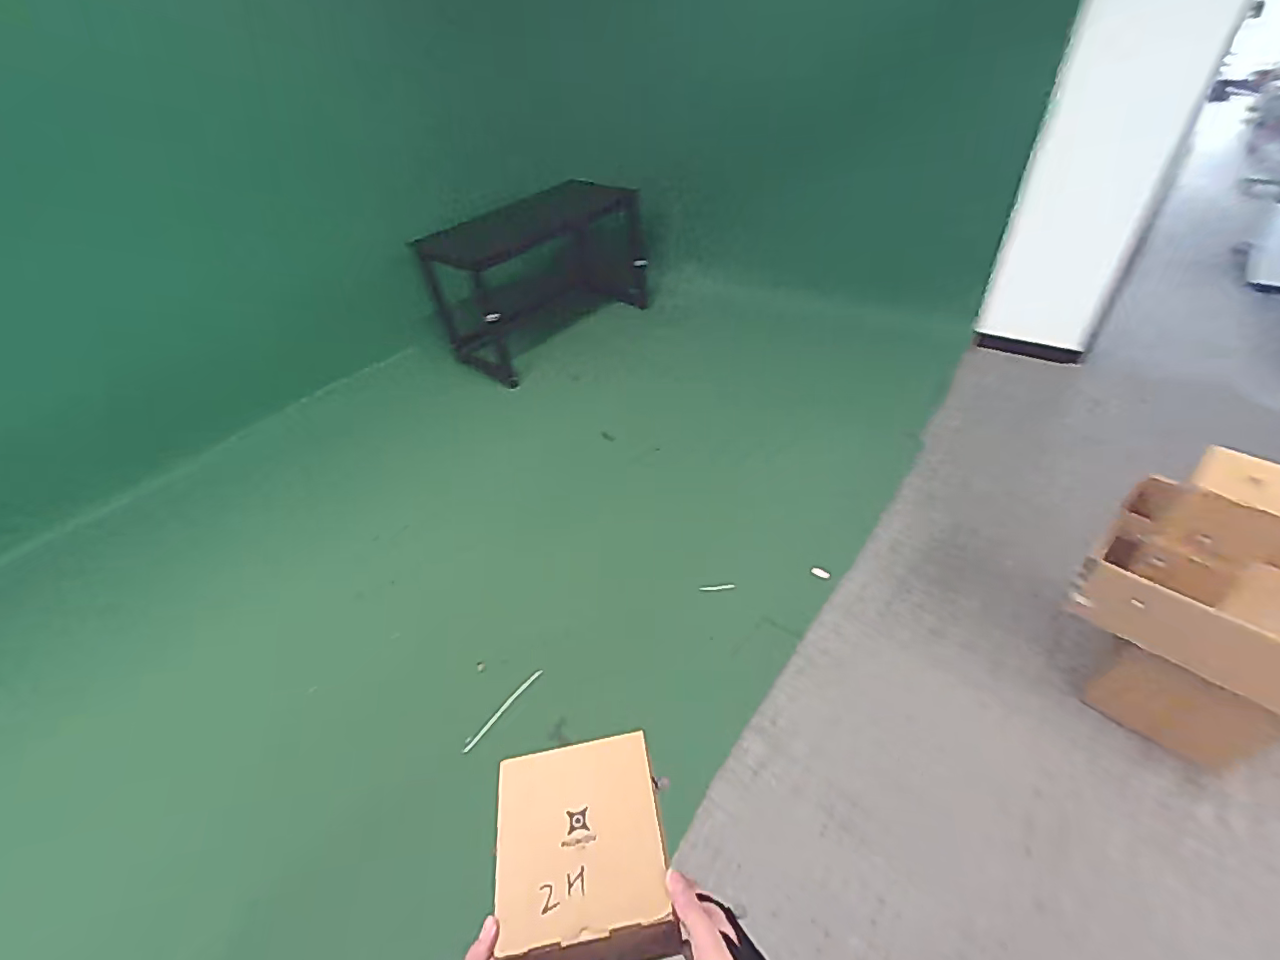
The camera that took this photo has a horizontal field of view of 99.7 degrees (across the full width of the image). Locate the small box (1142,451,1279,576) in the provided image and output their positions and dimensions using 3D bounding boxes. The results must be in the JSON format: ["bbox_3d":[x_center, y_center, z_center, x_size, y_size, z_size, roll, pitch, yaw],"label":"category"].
[{"bbox_3d":[1.255,0.072,1.180,0.179,0.176,0.168,-36,51,-27],"label":"small box"}]

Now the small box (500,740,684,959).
[{"bbox_3d":[-0.048,0.422,0.596,0.168,0.176,0.179,-9,41,-2],"label":"small box"}]
